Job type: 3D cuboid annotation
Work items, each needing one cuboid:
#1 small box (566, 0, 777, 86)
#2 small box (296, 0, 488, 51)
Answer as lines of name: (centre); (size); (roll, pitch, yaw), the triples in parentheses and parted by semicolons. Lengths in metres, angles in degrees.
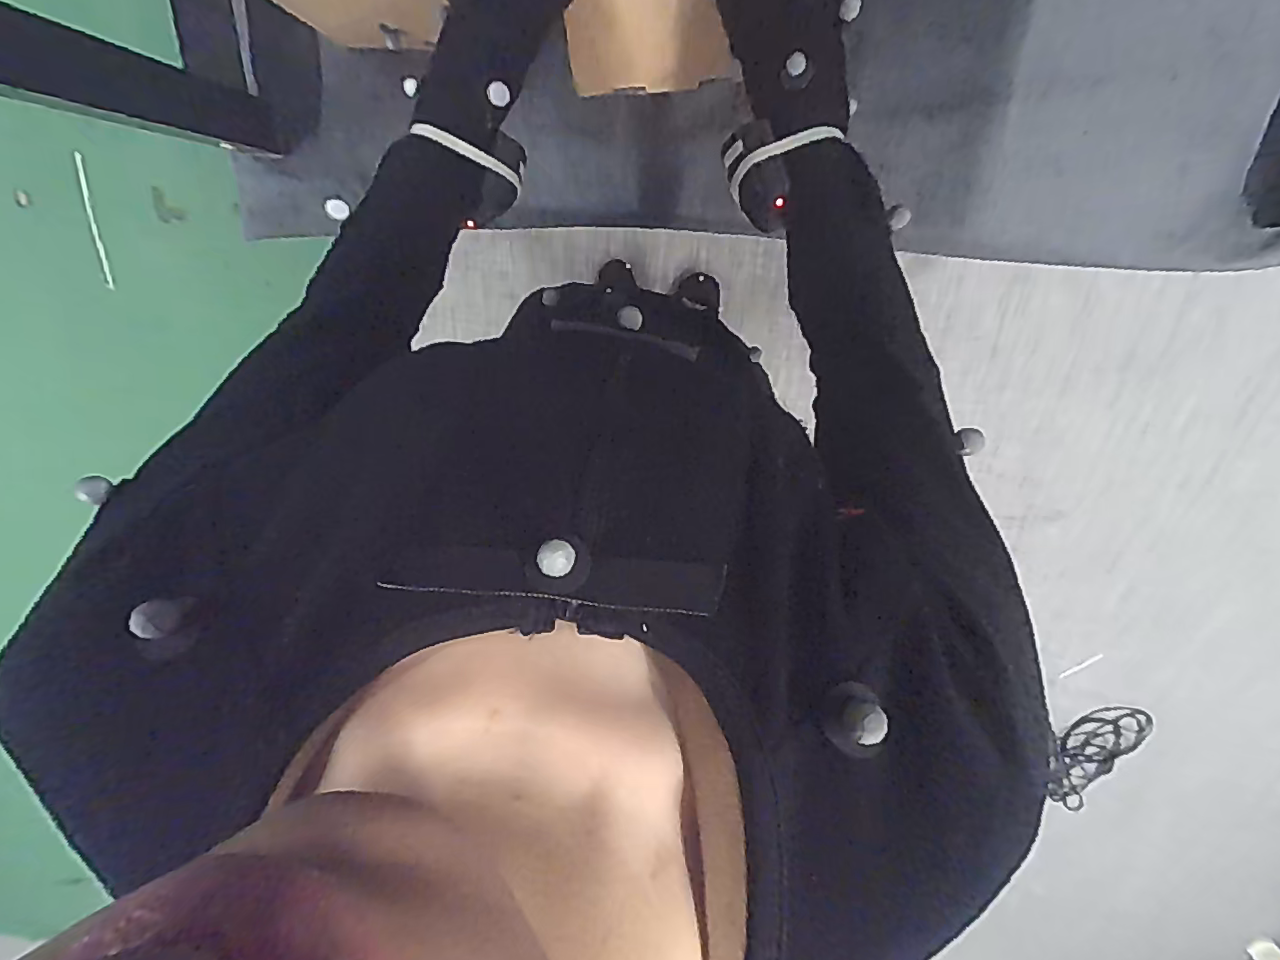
small box: (0.023, -0.452, 0.445); (0.168, 0.176, 0.179); (-2, 136, 5)
small box: (-0.239, -0.511, 0.466); (0.168, 0.176, 0.179); (4, 112, 3)
